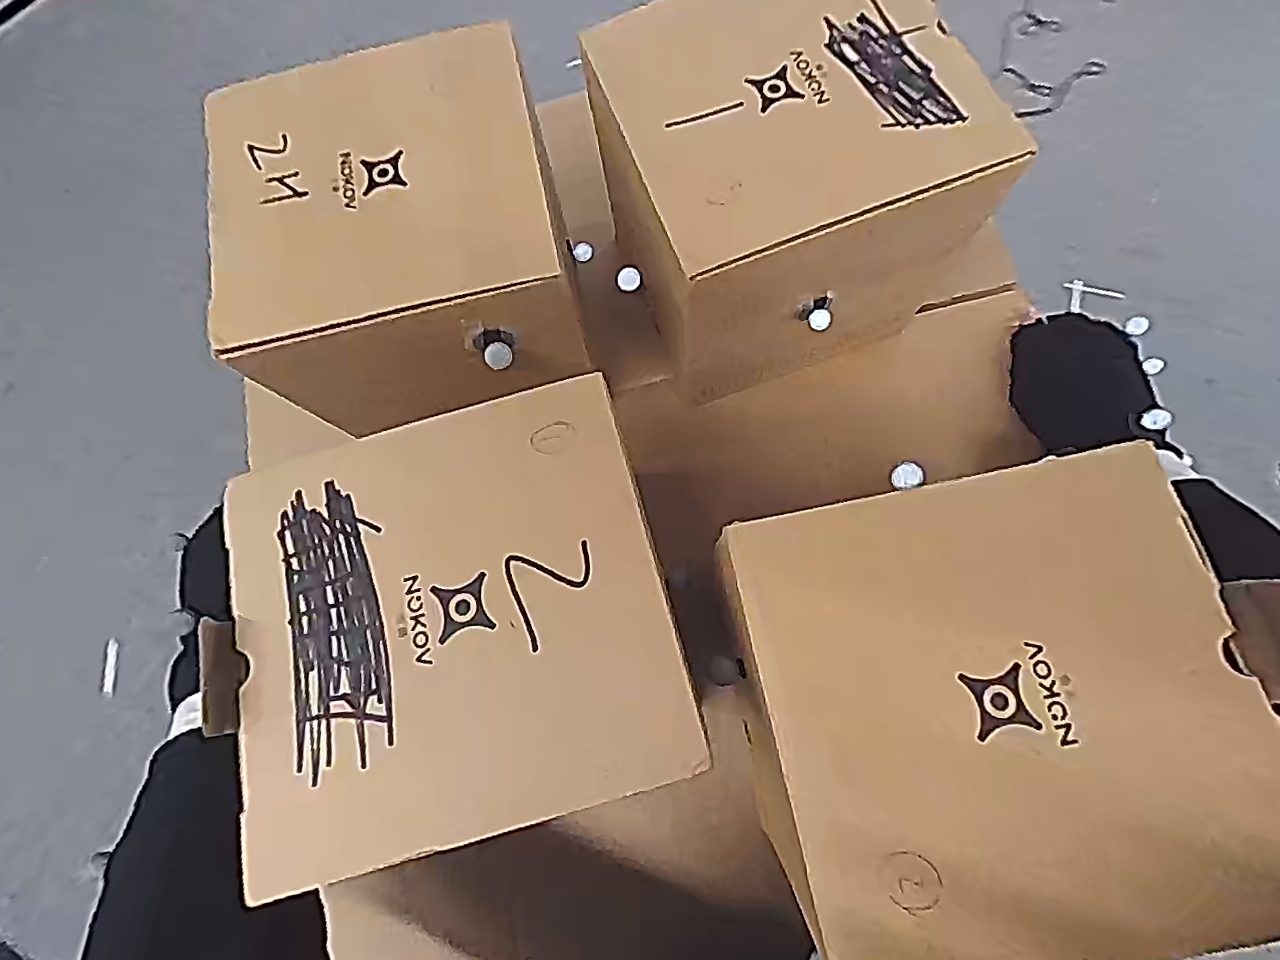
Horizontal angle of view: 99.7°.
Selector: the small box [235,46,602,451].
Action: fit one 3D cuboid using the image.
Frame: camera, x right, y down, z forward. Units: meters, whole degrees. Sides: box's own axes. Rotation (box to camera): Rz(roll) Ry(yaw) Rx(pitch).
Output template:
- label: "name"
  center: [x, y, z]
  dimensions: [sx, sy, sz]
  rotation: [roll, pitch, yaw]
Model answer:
- label: "small box"
  center: [-0.127, -0.133, 0.367]
  dimensions: [0.179, 0.176, 0.168]
  rotation: [-12, 74, 3]
